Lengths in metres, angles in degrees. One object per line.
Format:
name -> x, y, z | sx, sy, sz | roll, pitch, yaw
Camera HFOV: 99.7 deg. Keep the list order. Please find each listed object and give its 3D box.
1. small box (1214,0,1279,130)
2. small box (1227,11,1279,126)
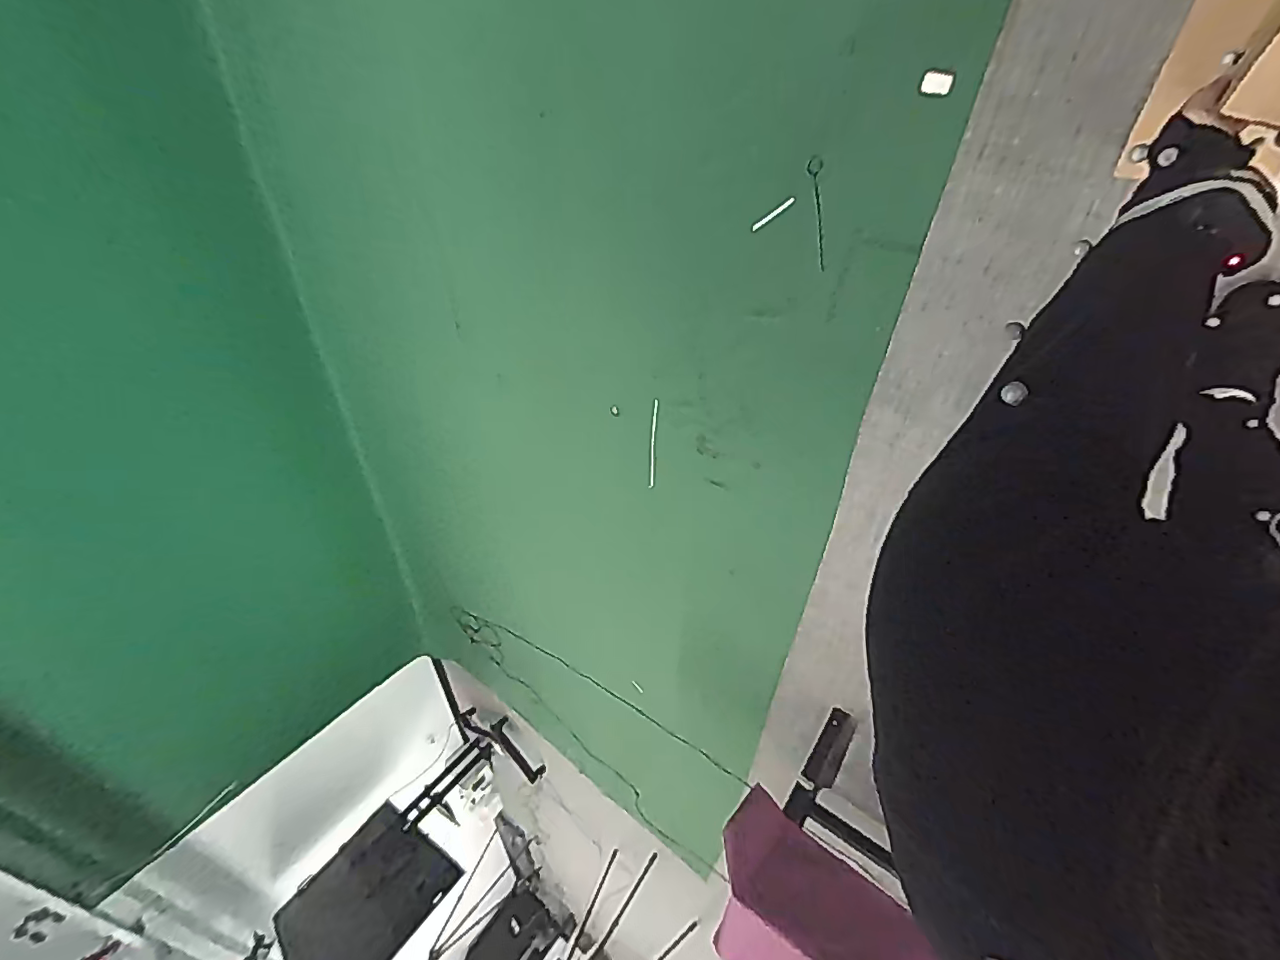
small box -> 0.661, -0.404, 0.471 | 0.168, 0.176, 0.179 | 34, 138, 21
small box -> 0.559, -0.332, 0.365 | 0.168, 0.176, 0.179 | 34, 139, 22
